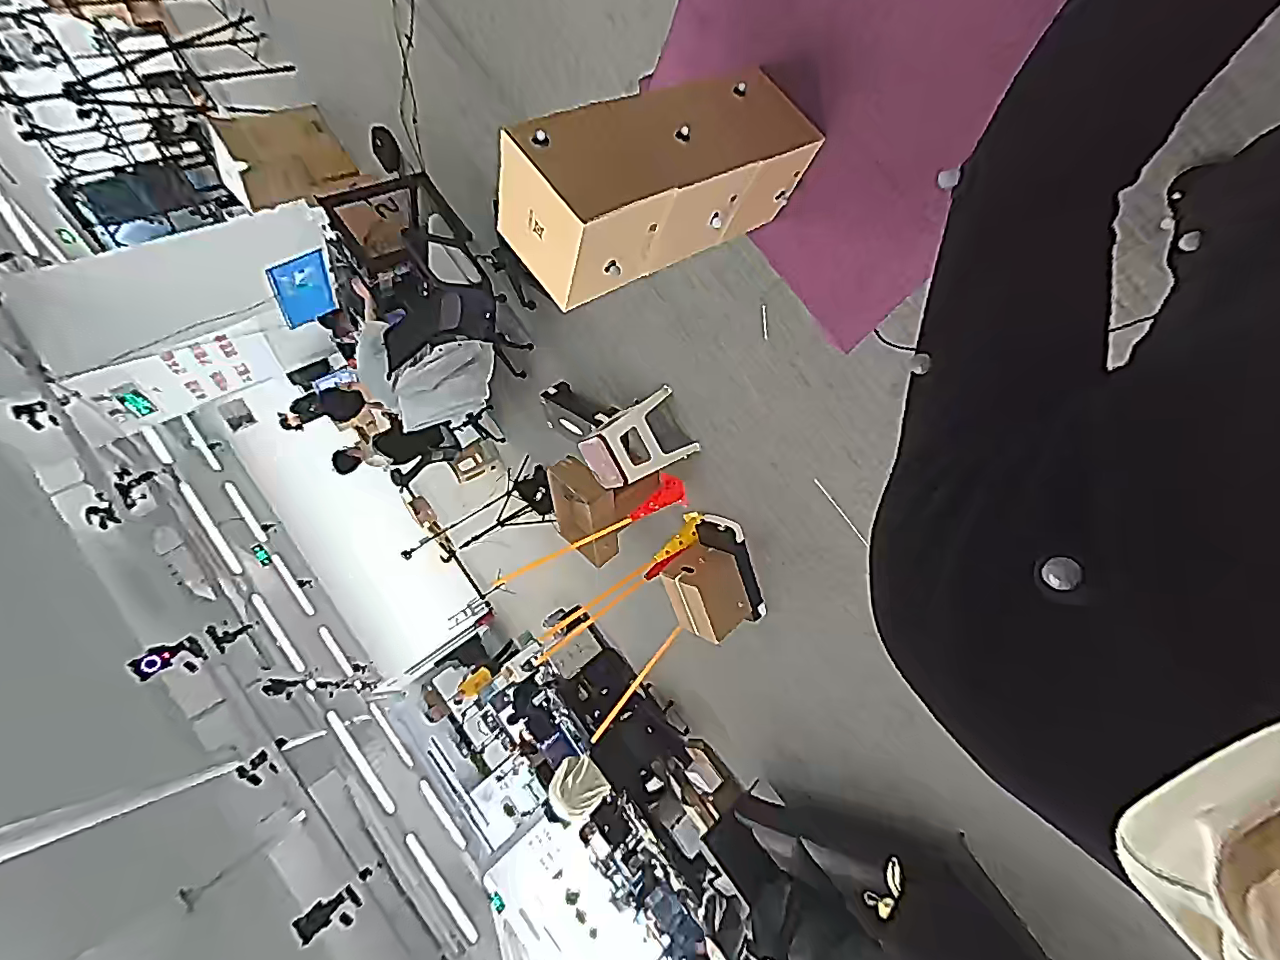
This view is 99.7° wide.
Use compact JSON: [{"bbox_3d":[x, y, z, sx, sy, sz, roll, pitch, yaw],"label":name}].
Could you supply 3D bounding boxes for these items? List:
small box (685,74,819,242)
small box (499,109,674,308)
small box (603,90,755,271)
[{"bbox_3d":[0.162,-0.549,0.918,0.179,0.176,0.168,52,153,7],"label":"small box"},{"bbox_3d":[-0.080,-0.388,0.770,0.179,0.176,0.168,52,154,8],"label":"small box"},{"bbox_3d":[0.041,-0.469,0.843,0.179,0.176,0.168,52,153,8],"label":"small box"}]
